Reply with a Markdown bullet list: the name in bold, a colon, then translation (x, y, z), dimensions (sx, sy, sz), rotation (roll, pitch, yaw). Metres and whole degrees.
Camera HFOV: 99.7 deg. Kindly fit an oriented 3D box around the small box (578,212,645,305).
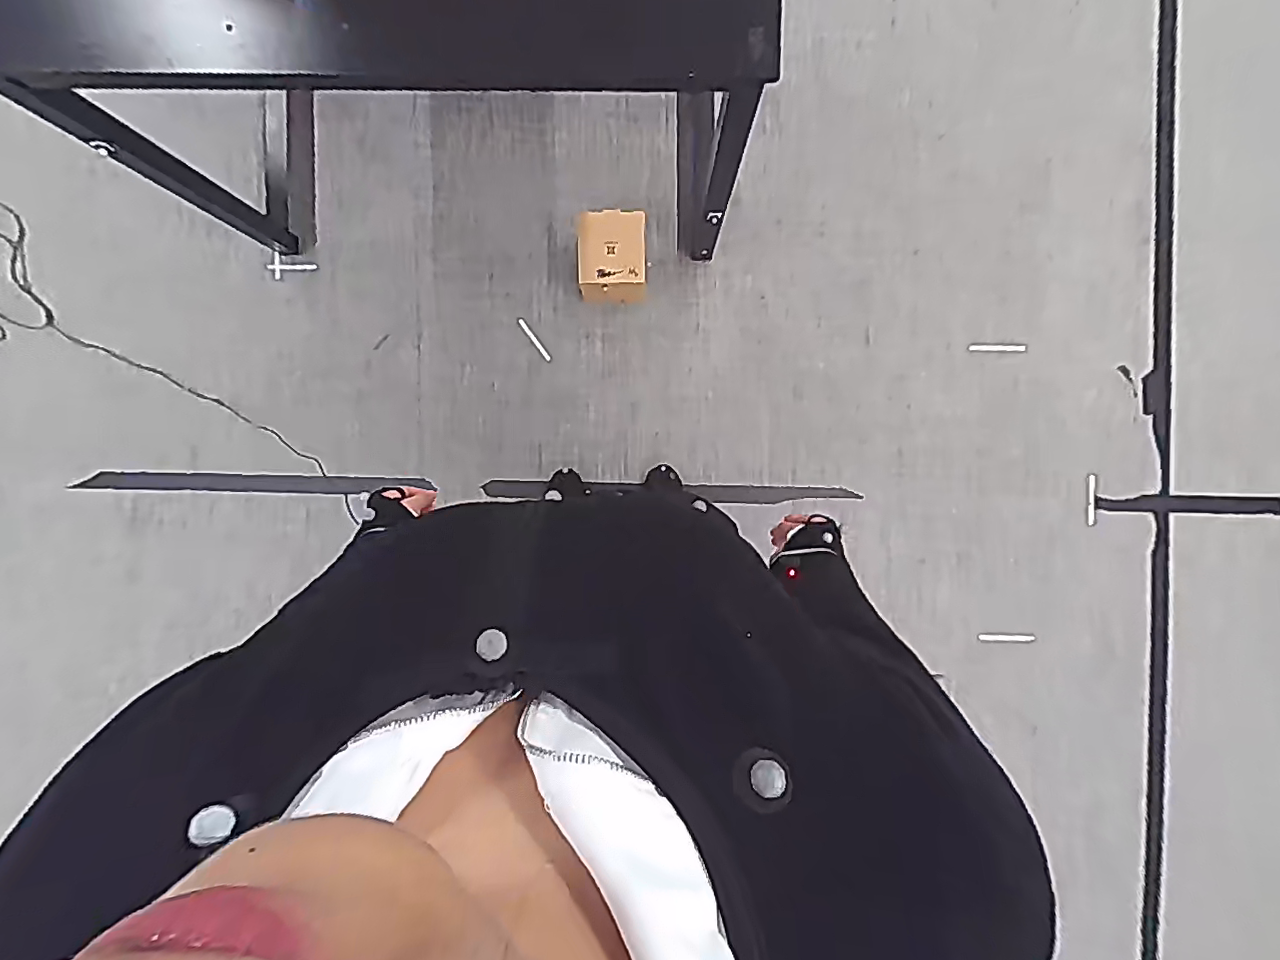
- **small box**: translation (-0.070, -0.570, 1.404), dimensions (0.168, 0.176, 0.179), rotation (0, 91, 1)
